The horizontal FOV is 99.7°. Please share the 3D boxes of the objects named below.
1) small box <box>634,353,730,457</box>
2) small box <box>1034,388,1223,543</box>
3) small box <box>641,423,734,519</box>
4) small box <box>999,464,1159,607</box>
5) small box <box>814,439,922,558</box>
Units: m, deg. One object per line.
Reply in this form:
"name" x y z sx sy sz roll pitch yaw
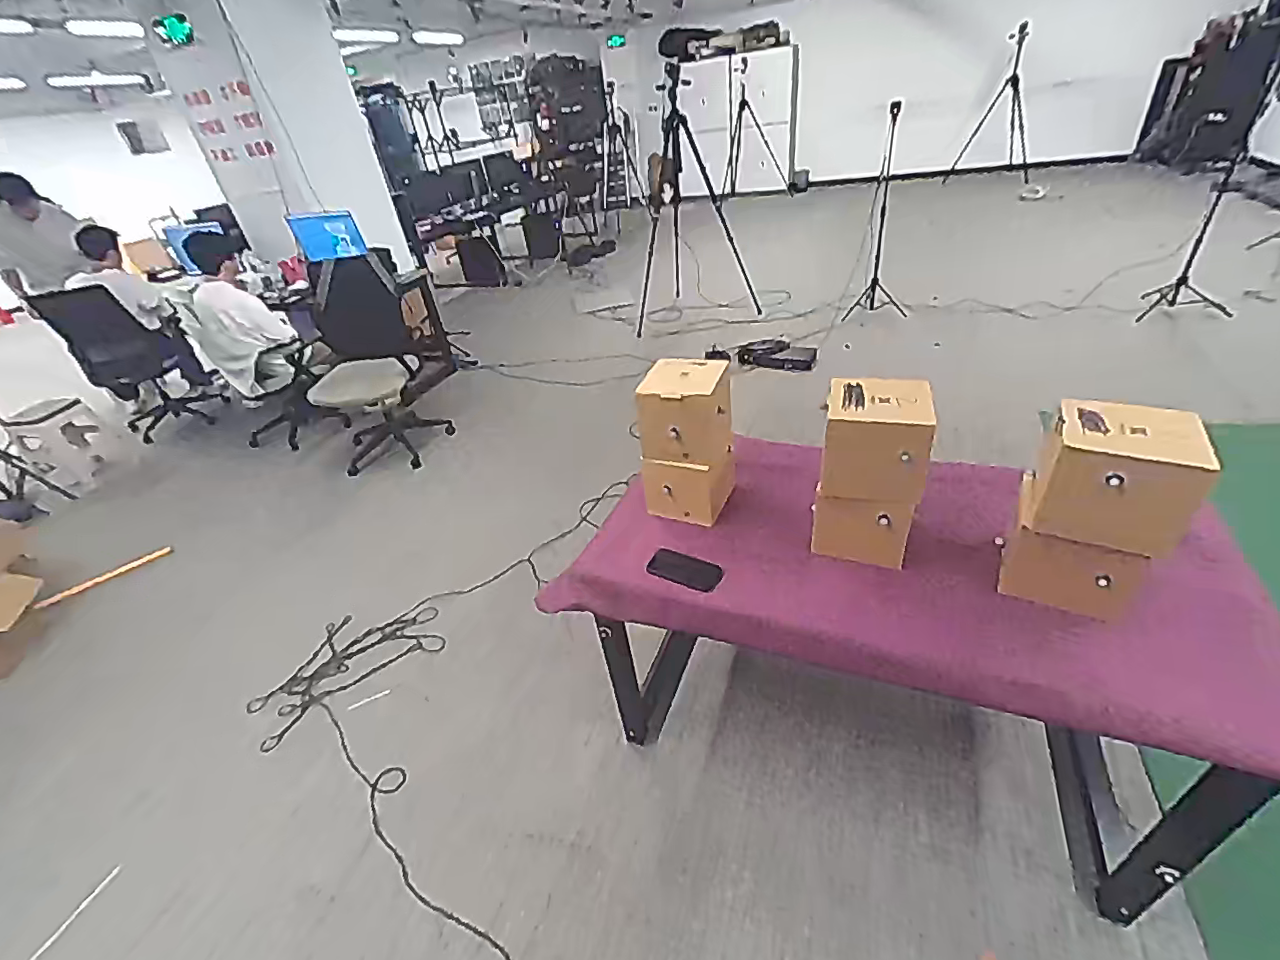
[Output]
"small box" 0.102 -0.167 1.194 0.168 0.176 0.179 7 39 21
"small box" 0.742 -0.025 0.846 0.179 0.176 0.168 14 41 29
"small box" 0.121 -0.029 1.283 0.168 0.176 0.179 10 39 25
"small box" 0.763 0.097 0.955 0.179 0.176 0.168 13 41 30
"small box" 0.463 0.038 1.105 0.179 0.176 0.168 9 39 24
